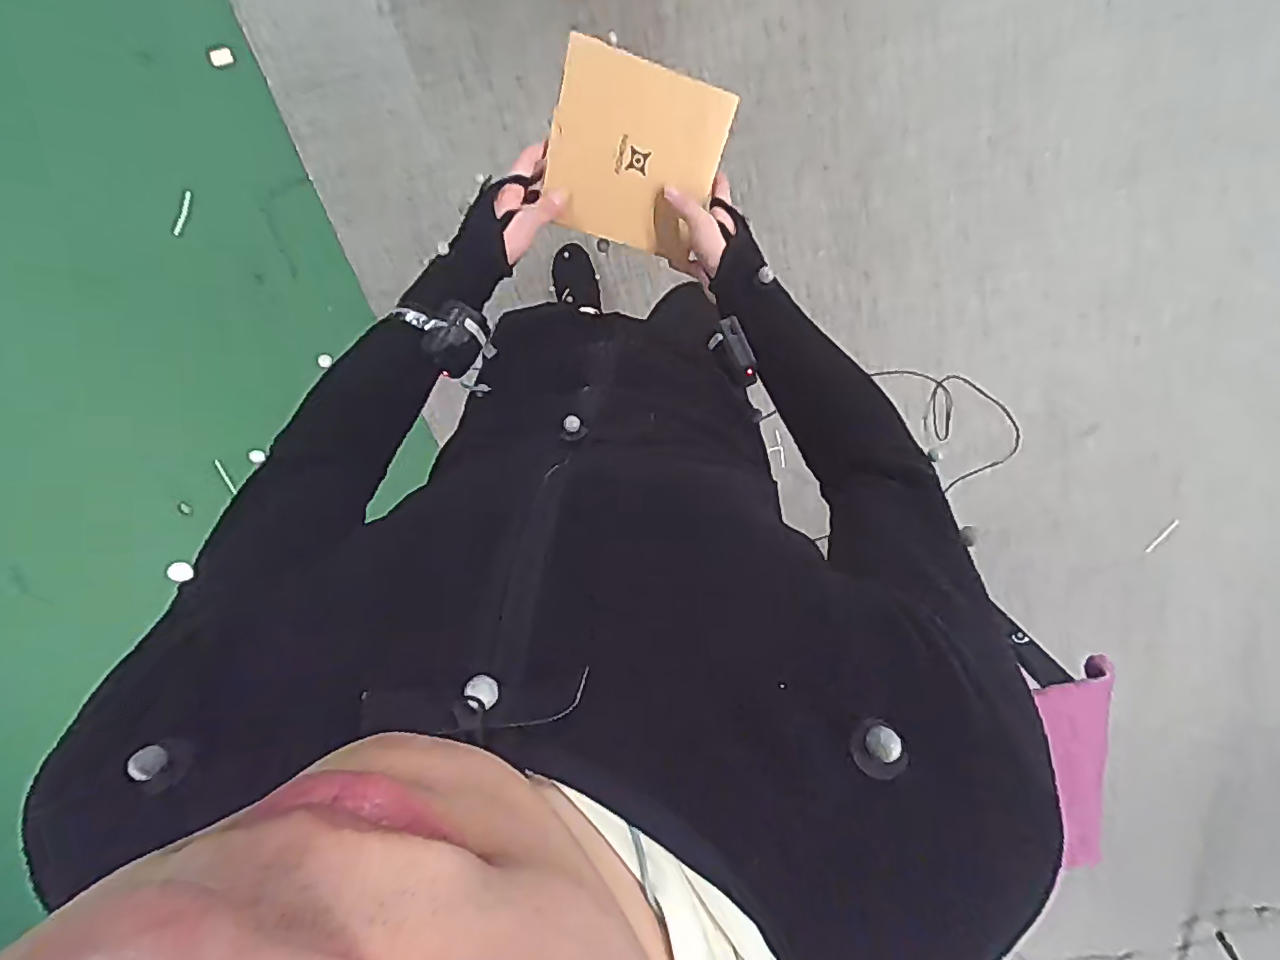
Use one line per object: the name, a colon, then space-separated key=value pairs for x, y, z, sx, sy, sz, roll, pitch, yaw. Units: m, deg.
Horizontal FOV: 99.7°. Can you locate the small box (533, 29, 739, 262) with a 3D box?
small box: x=-0.012 y=-0.371 z=0.618 sx=0.179 sy=0.176 sz=0.168 roll=13 pitch=119 yaw=-11
